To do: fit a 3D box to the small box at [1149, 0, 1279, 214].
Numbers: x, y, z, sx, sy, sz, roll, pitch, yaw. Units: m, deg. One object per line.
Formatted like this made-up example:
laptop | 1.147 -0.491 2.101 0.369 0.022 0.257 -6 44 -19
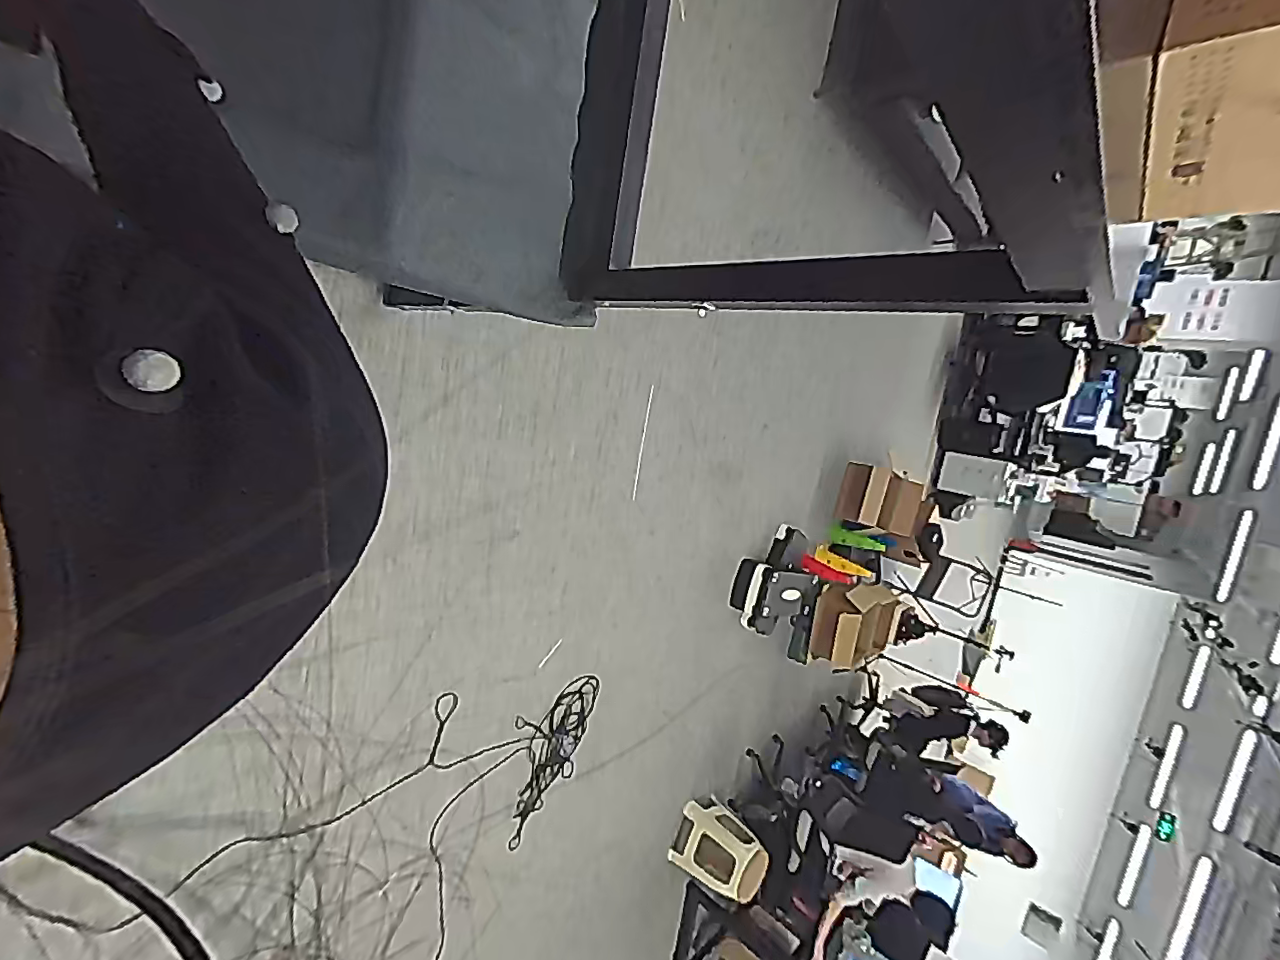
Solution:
small box | 0.397 -0.263 0.277 0.168 0.176 0.179 17 90 -49
